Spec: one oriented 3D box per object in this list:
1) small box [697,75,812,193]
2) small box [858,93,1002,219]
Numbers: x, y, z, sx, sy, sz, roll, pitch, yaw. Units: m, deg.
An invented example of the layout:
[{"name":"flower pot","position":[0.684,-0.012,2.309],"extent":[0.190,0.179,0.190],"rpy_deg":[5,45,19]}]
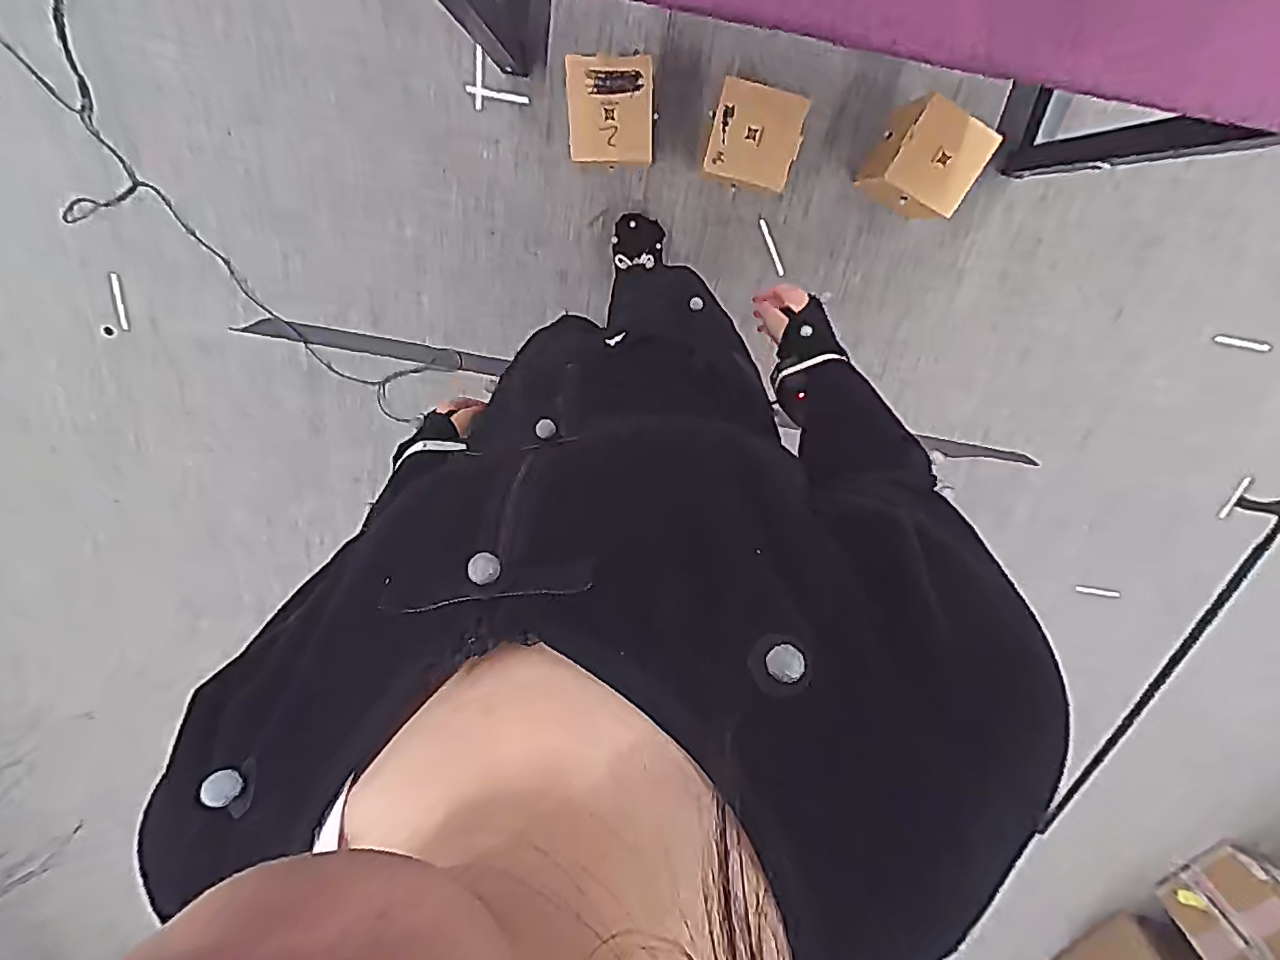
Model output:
[{"name":"small box","position":[0.231,-0.718,1.142],"extent":[0.179,0.176,0.168],"rpy_deg":[13,115,-6]},{"name":"small box","position":[0.609,-0.684,1.160],"extent":[0.179,0.176,0.168],"rpy_deg":[25,114,-10]}]
